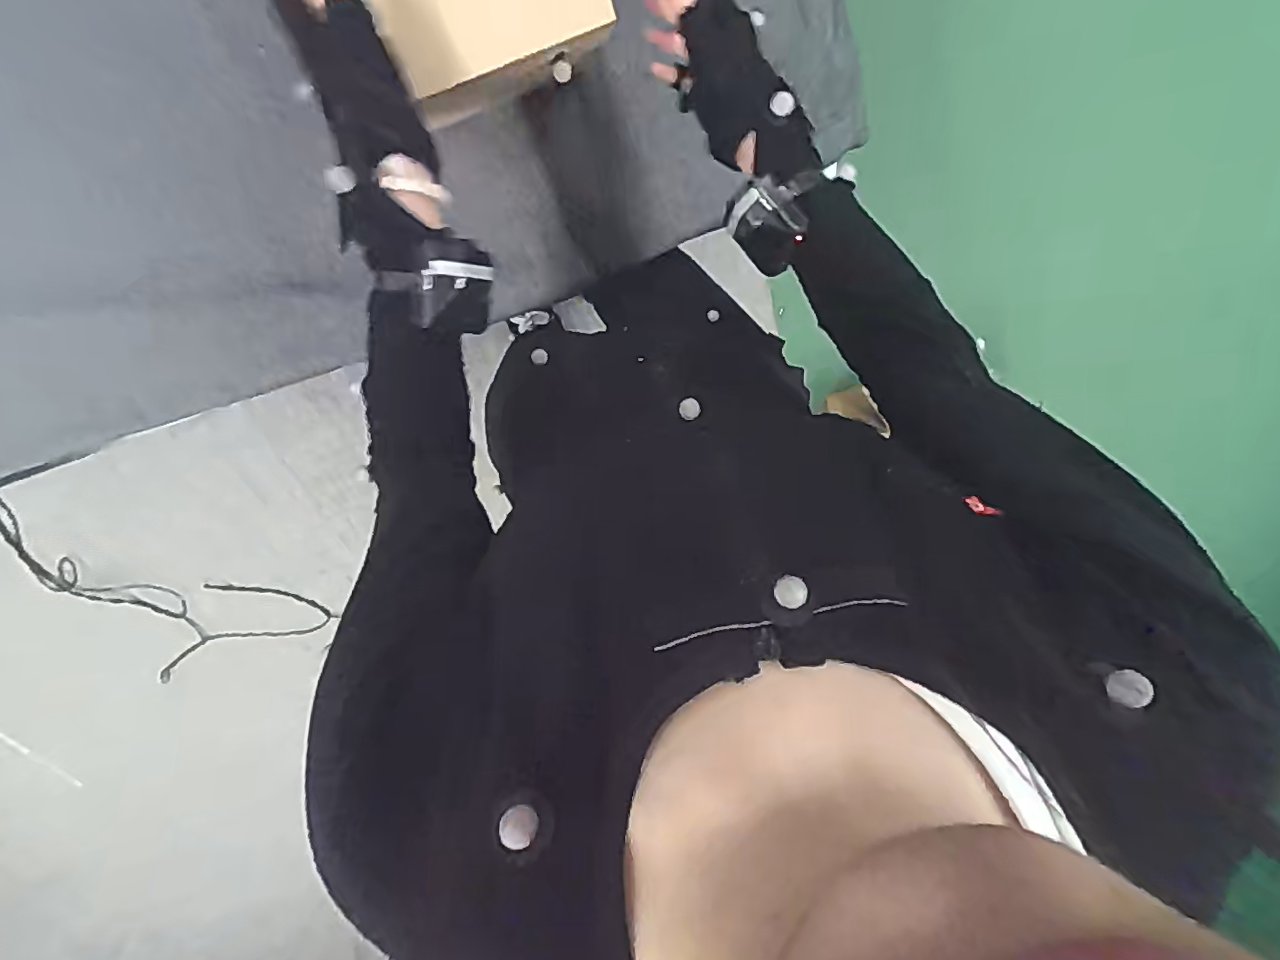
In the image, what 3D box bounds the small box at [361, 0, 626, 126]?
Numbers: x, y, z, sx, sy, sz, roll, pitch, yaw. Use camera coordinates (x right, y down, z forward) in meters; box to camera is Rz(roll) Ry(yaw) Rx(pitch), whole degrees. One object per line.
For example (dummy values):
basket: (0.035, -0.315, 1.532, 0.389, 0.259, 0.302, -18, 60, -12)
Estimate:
small box: (-0.131, -0.406, 0.424, 0.179, 0.176, 0.168, -23, 119, -1)
